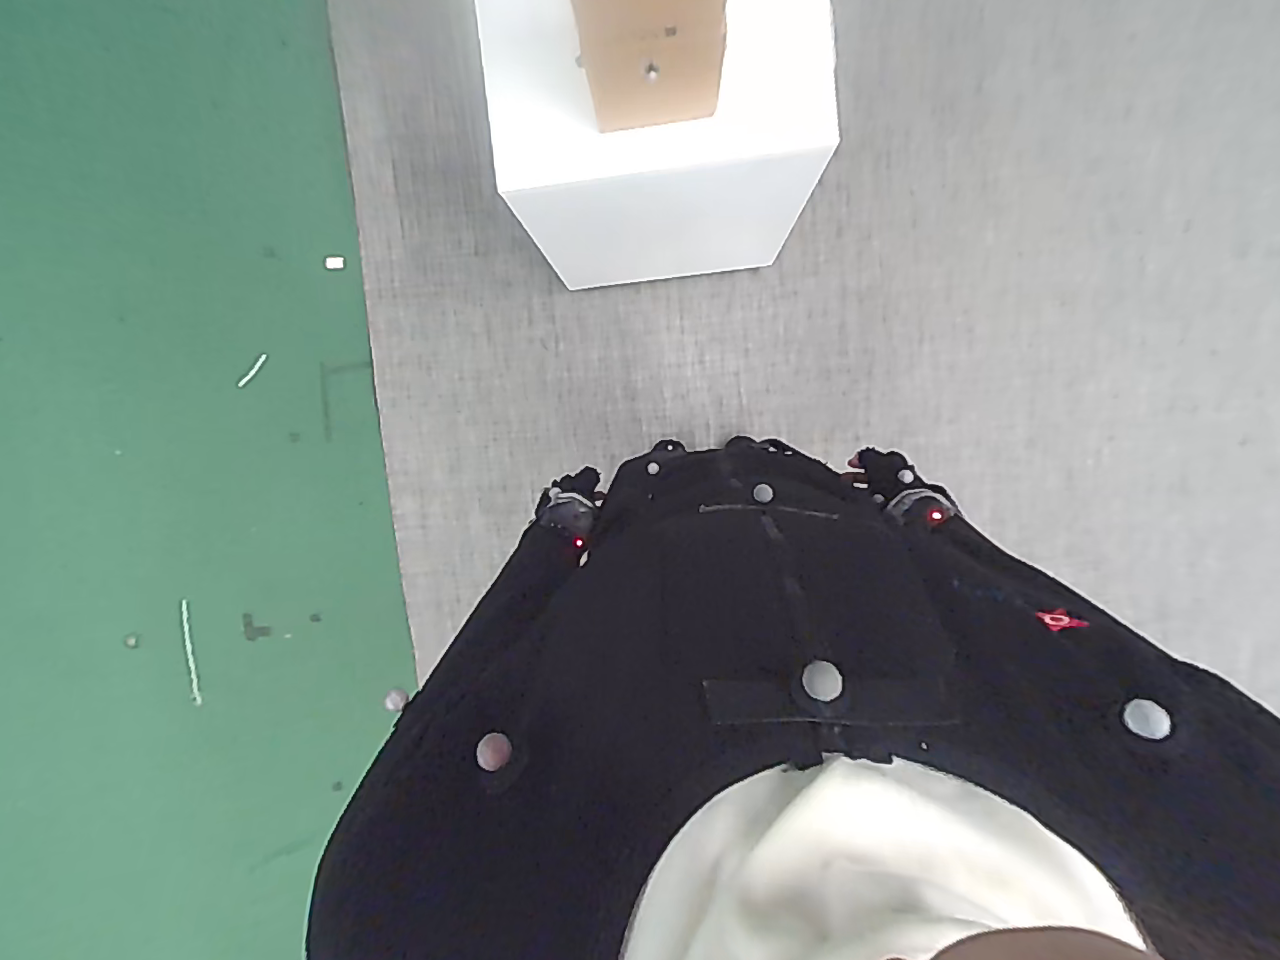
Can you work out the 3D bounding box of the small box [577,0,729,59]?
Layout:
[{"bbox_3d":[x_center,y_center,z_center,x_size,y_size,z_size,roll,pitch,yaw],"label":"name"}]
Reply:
[{"bbox_3d":[0.006,-0.589,0.555,0.168,0.176,0.179,-7,95,3],"label":"small box"}]

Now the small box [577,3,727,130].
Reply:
[{"bbox_3d":[0.015,-0.598,0.716,0.179,0.176,0.168,-6,94,3],"label":"small box"}]
